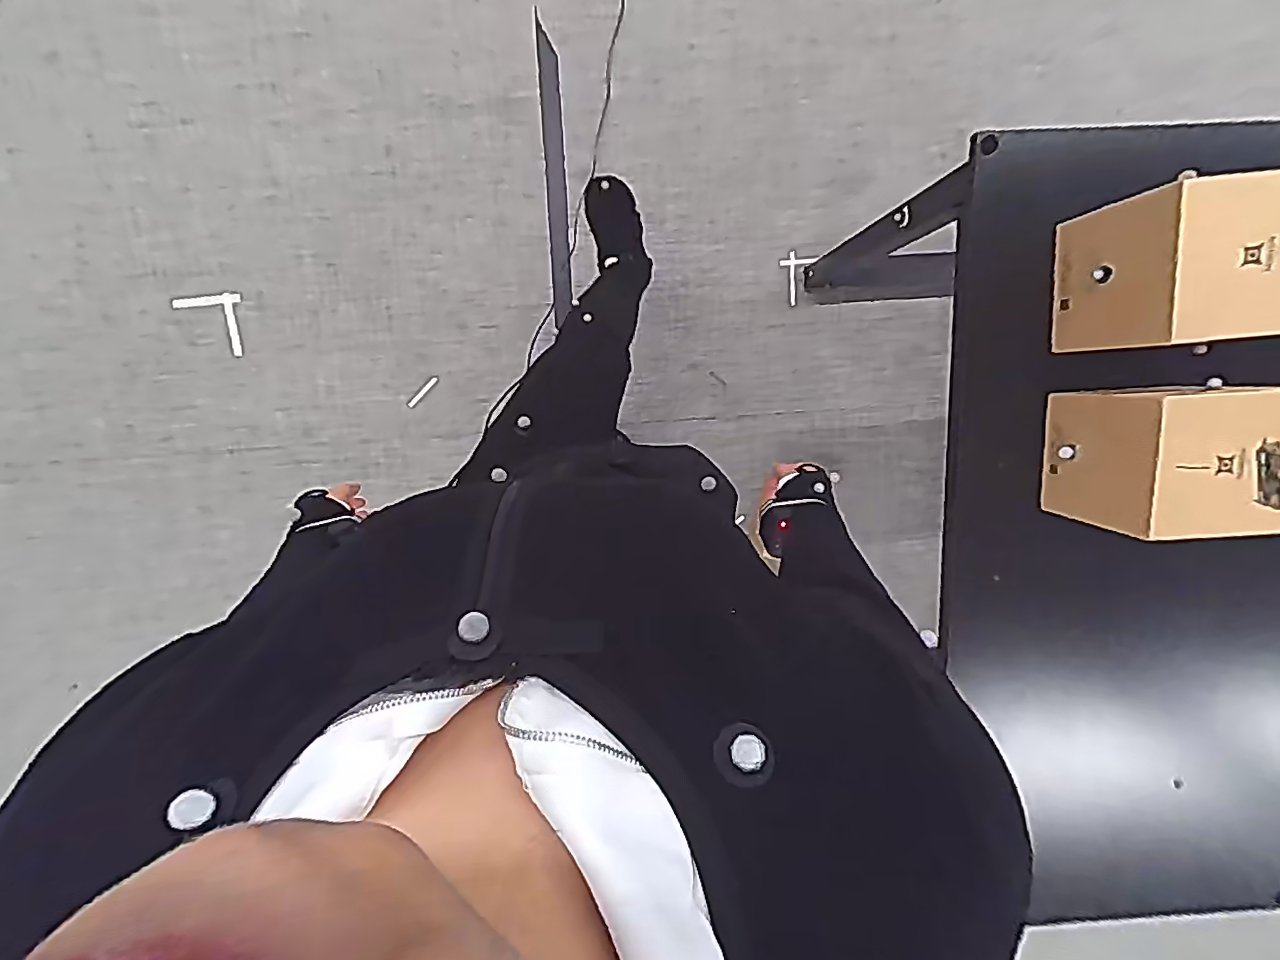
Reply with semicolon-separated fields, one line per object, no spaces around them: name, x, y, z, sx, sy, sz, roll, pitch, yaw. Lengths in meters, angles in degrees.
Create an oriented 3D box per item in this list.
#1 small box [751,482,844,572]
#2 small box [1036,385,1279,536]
small box;0.409;0.119;1.445;0.168;0.176;0.179;17;98;-5
small box;0.653;-0.034;0.684;0.179;0.176;0.168;-3;99;-1
